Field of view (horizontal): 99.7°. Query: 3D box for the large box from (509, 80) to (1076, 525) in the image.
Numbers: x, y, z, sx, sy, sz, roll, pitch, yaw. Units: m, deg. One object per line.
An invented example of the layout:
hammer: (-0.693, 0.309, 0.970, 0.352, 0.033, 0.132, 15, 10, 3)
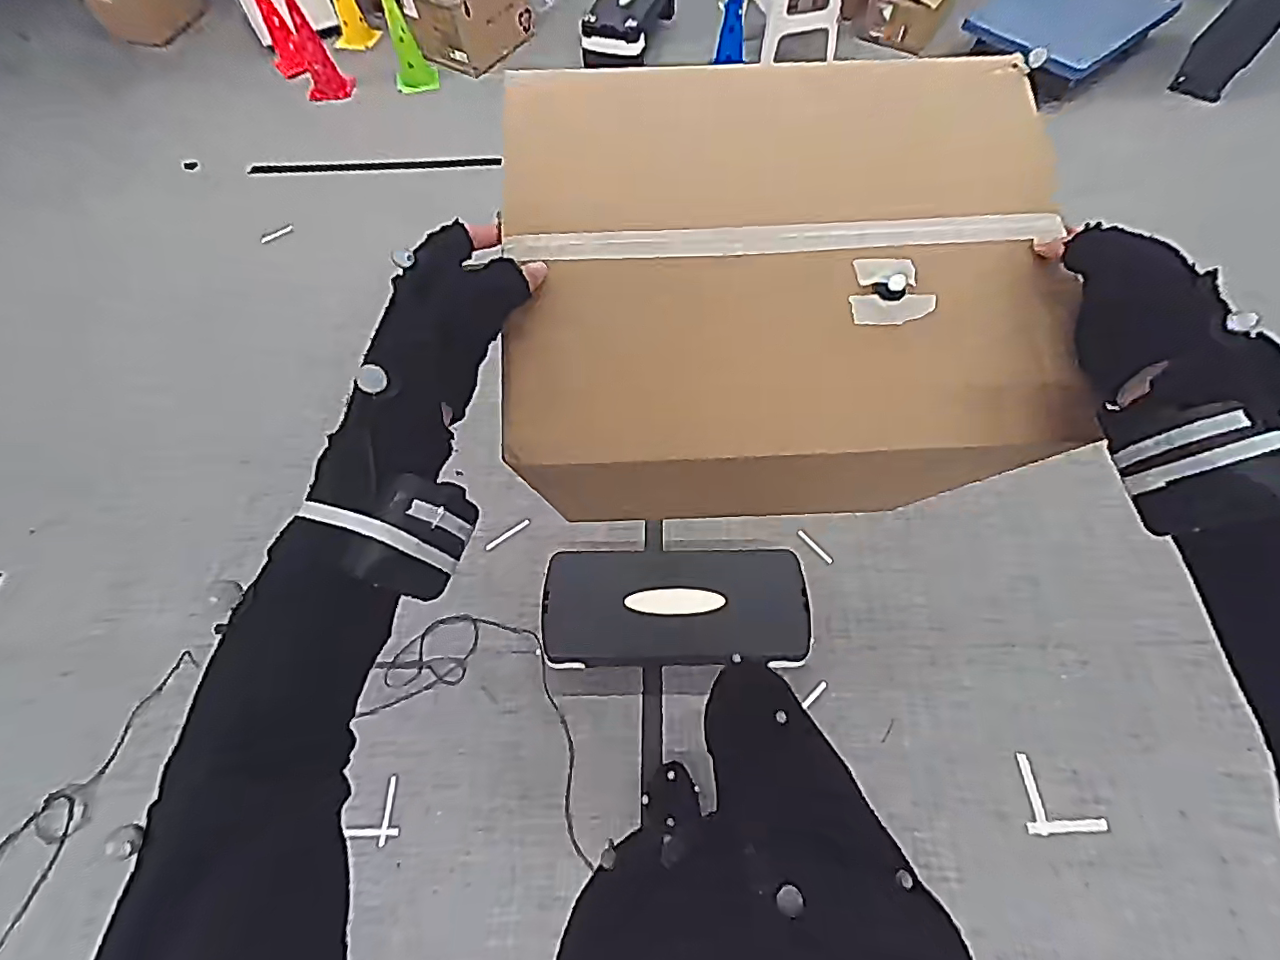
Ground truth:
large box: (0.099, -0.136, 0.553, 0.408, 0.320, 0.320, -3, 79, -2)
